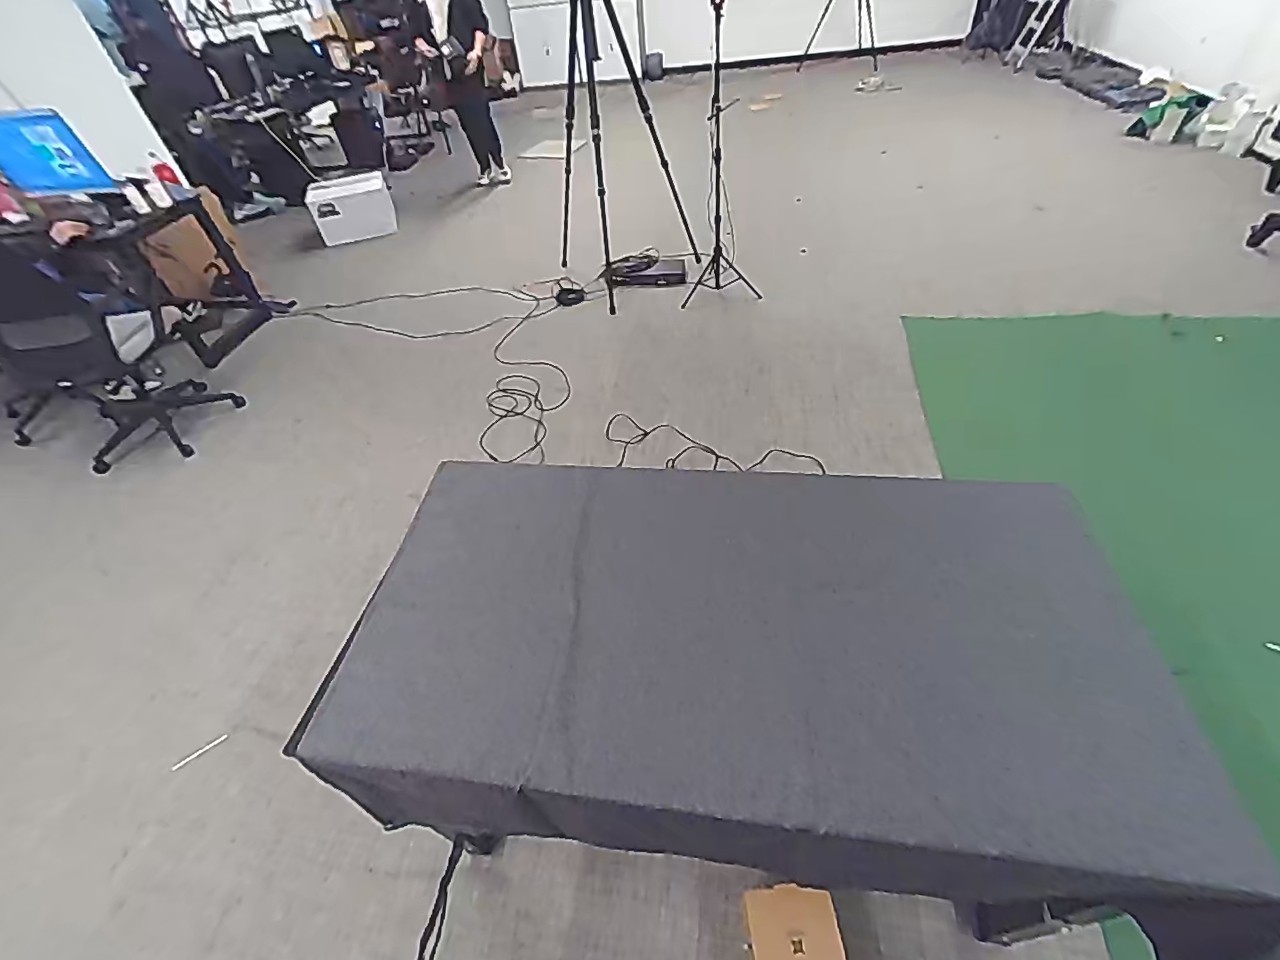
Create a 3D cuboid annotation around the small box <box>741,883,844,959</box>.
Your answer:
[{"bbox_3d":[0.293,0.911,1.049,0.168,0.176,0.179,-6,44,2],"label":"small box"}]
